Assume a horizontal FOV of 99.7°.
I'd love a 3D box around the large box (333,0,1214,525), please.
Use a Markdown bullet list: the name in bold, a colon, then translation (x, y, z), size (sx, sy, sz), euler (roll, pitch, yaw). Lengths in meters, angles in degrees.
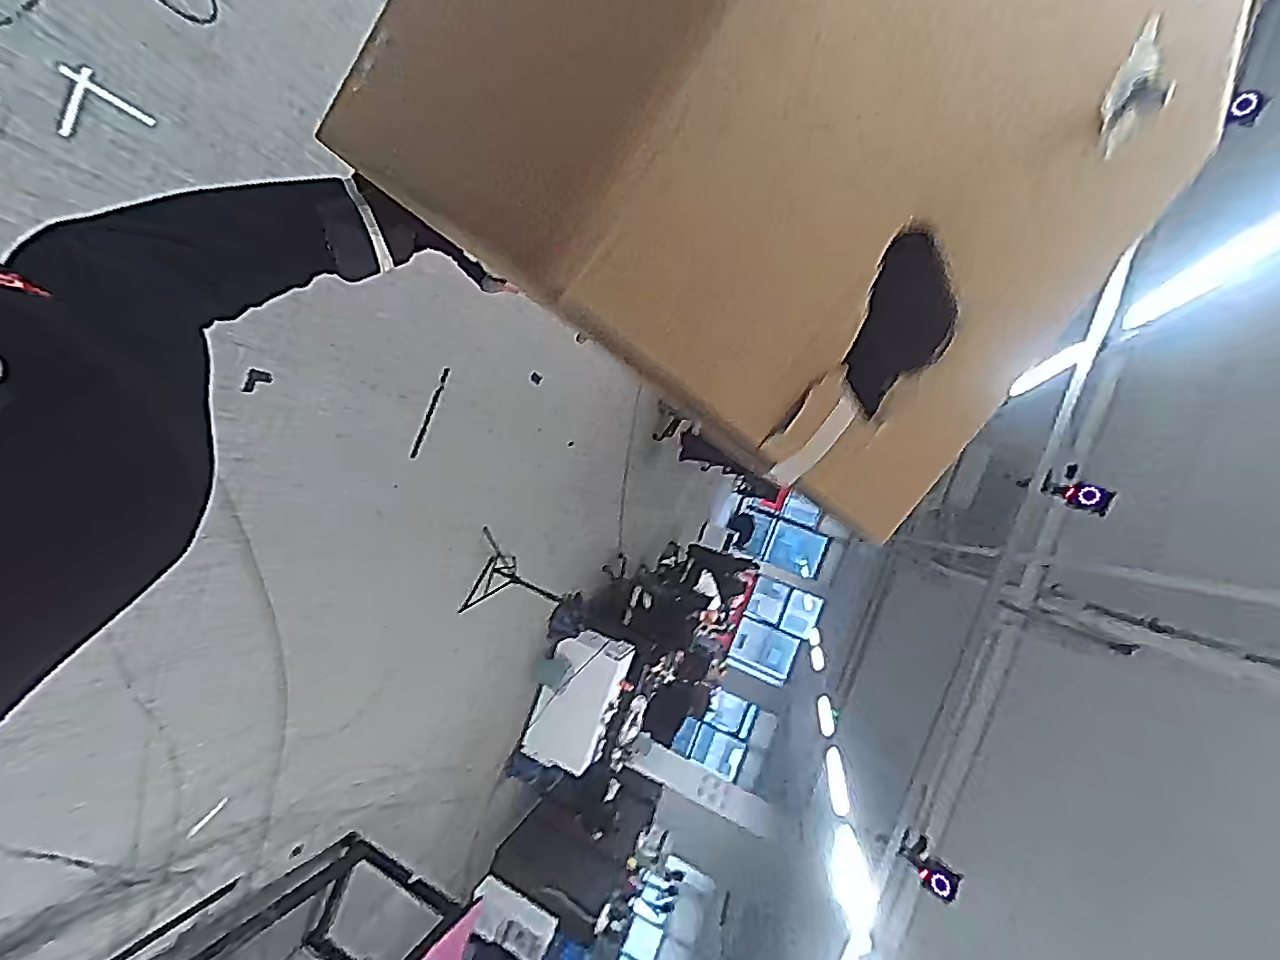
- **large box**: translation (0.046, -0.236, 0.368), size (0.320, 0.408, 0.320), euler (-51, 138, 9)
